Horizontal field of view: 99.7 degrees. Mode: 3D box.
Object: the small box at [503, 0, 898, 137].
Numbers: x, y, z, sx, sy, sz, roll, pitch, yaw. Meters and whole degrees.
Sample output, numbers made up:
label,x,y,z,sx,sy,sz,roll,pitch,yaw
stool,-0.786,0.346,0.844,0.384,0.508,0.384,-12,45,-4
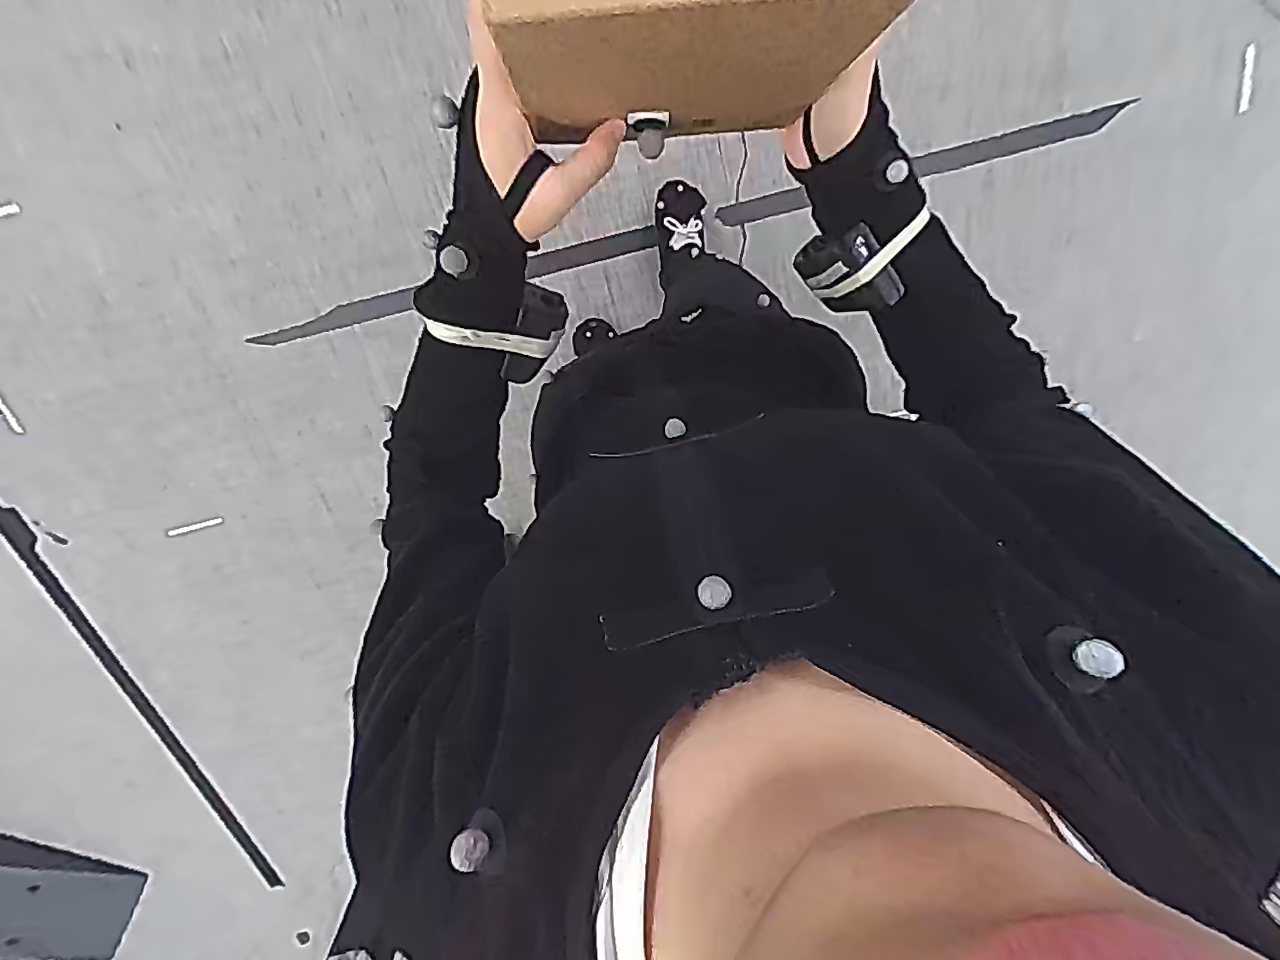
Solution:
label,x,y,z,sx,sy,sz,roll,pitch,yaw
small box,0.014,-0.285,0.244,0.168,0.176,0.179,-7,108,-1
